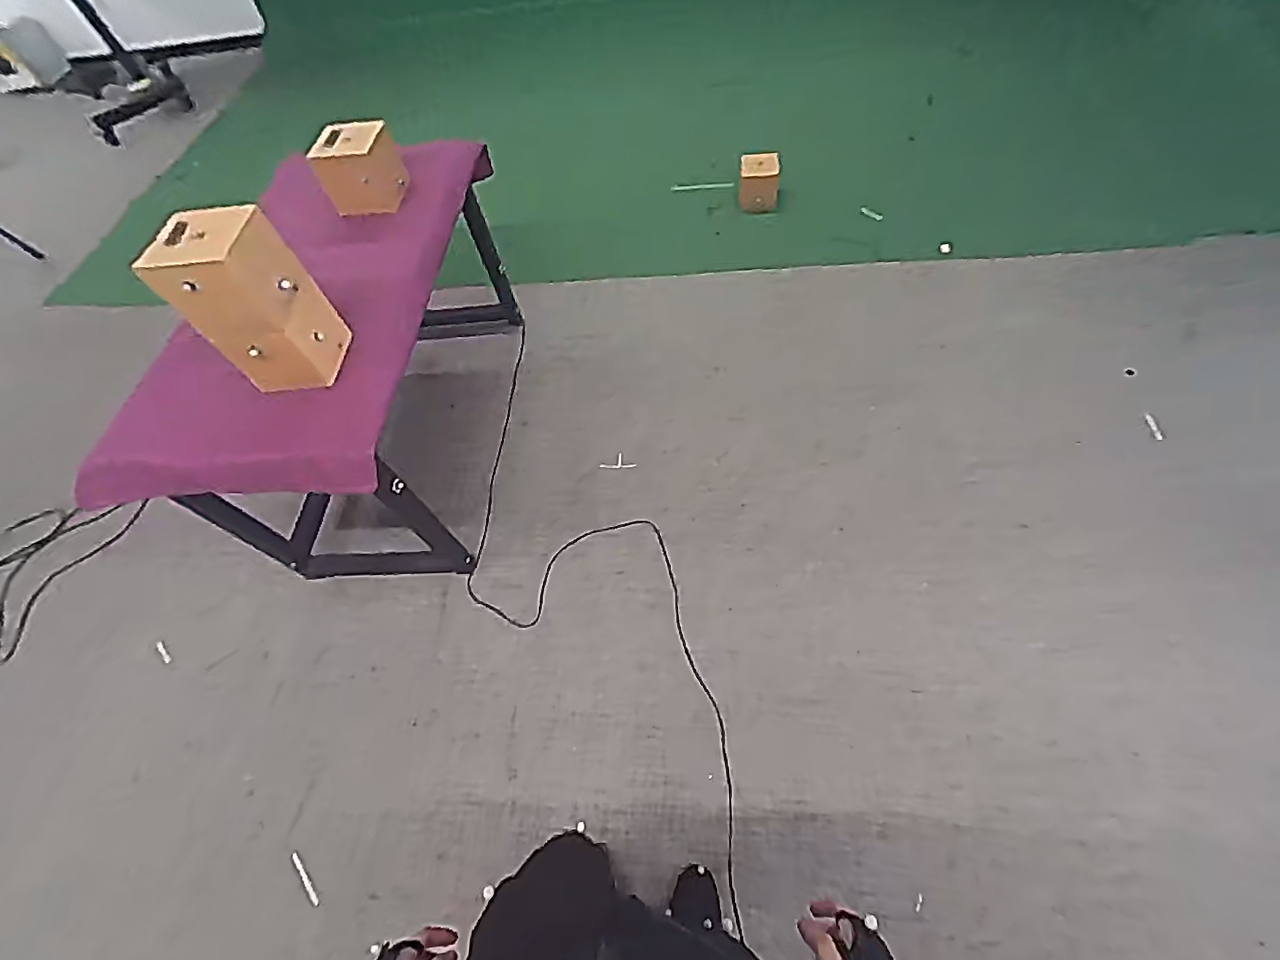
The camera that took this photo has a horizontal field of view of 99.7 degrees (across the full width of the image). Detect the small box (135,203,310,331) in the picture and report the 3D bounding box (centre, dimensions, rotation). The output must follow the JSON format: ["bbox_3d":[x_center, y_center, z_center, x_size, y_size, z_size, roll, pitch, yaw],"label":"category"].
[{"bbox_3d":[-0.793,-0.407,1.049,0.179,0.176,0.168,-2,59,5],"label":"small box"}]

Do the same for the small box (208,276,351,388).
[{"bbox_3d":[-0.774,-0.321,1.188,0.179,0.176,0.168,-3,58,5],"label":"small box"}]

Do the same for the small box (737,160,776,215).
[{"bbox_3d":[0.543,-1.377,2.544,0.168,0.176,0.179,1,59,7],"label":"small box"}]
